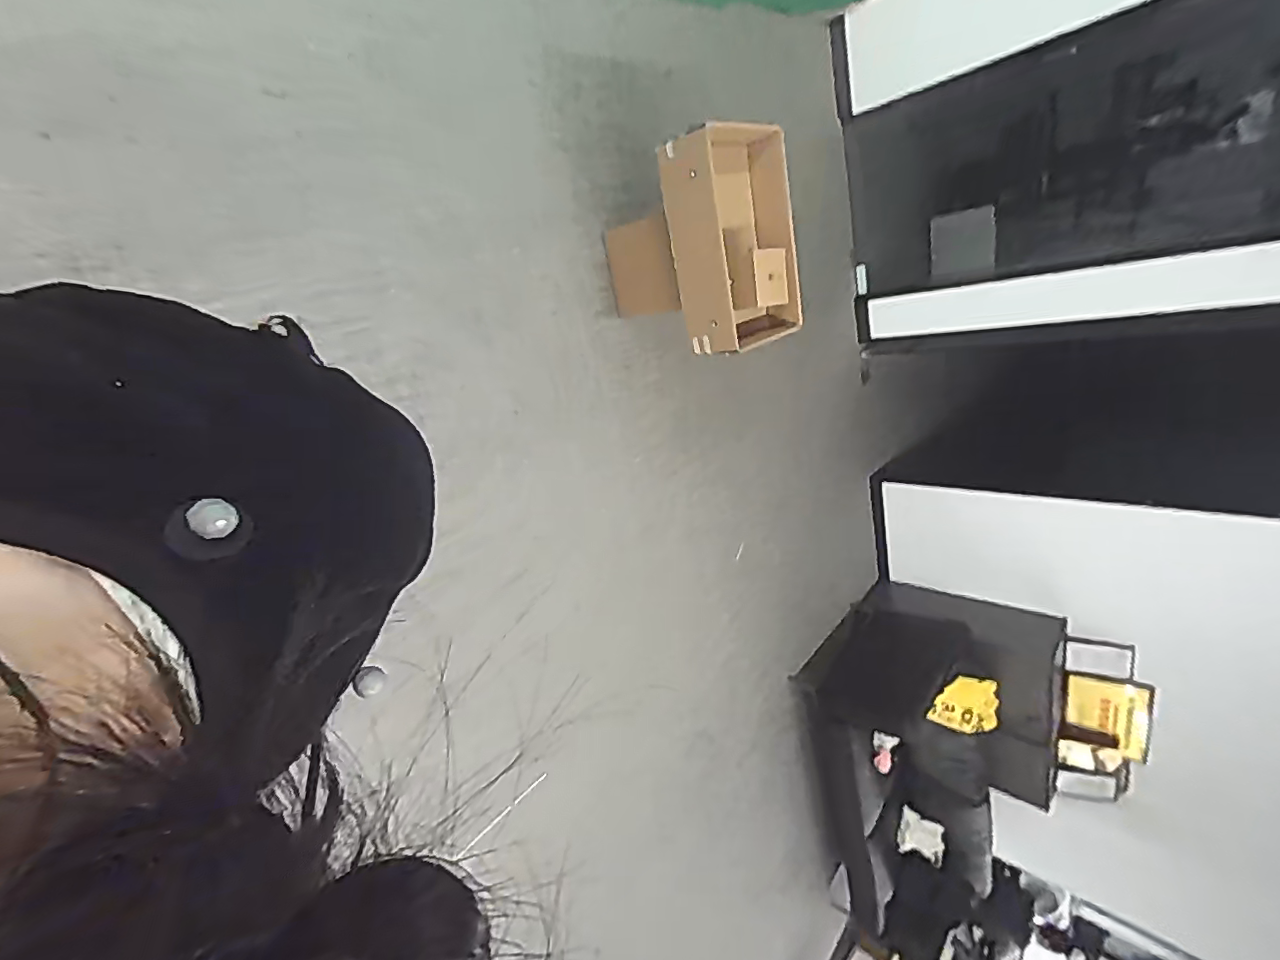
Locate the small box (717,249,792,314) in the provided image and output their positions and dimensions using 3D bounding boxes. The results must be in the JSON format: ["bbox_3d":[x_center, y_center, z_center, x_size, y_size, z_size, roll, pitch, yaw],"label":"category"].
[{"bbox_3d":[0.354,-0.621,1.695,0.179,0.176,0.168,-22,111,-40],"label":"small box"}]
